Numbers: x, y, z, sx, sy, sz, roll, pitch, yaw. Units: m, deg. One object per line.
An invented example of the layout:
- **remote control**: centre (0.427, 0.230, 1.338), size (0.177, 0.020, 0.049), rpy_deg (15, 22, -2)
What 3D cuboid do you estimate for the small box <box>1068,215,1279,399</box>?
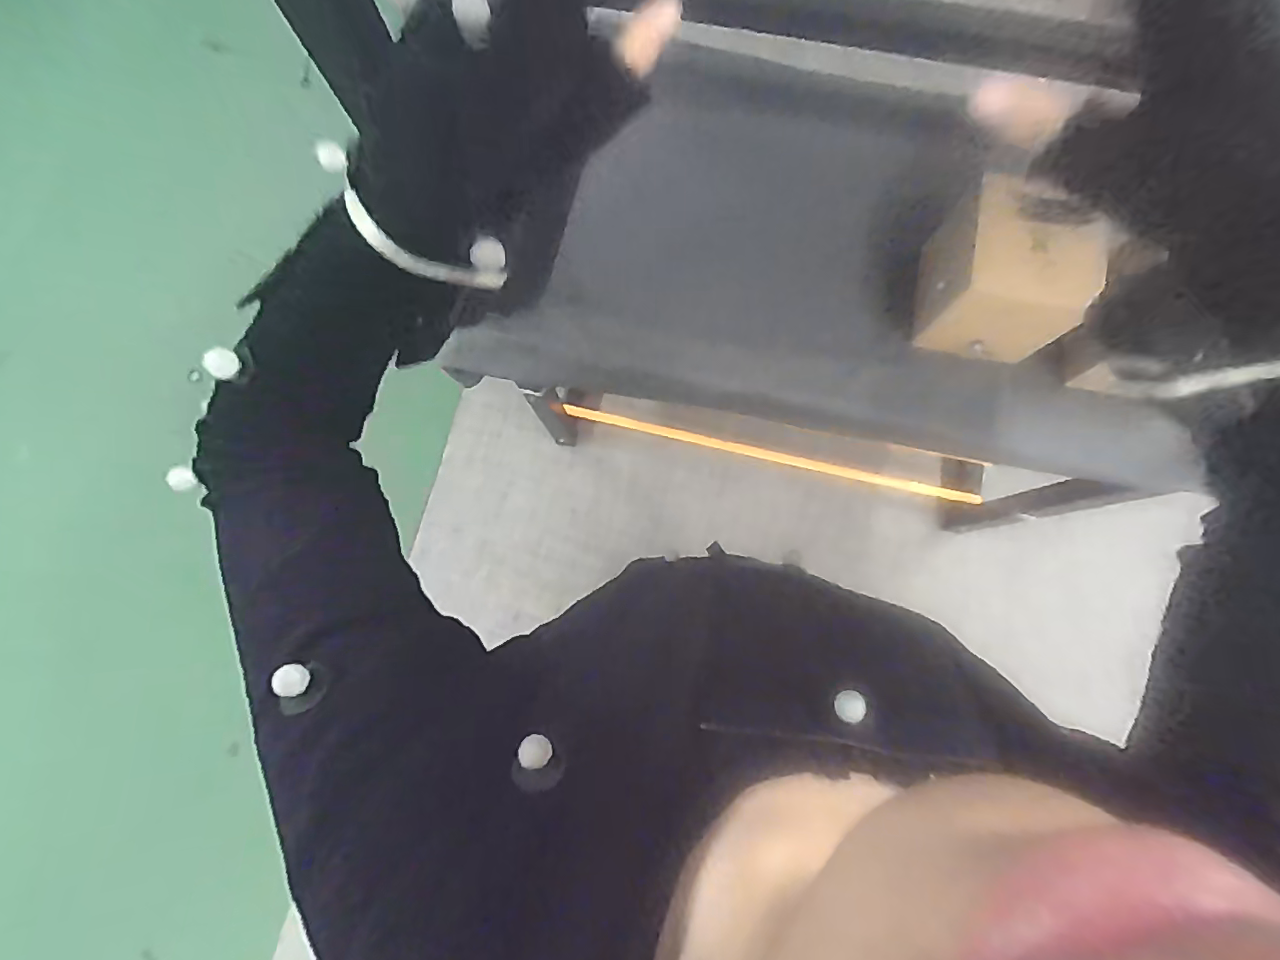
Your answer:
- **small box**: centre (0.741, -0.229, 0.755), size (0.168, 0.176, 0.179), rpy_deg (11, 78, 4)
